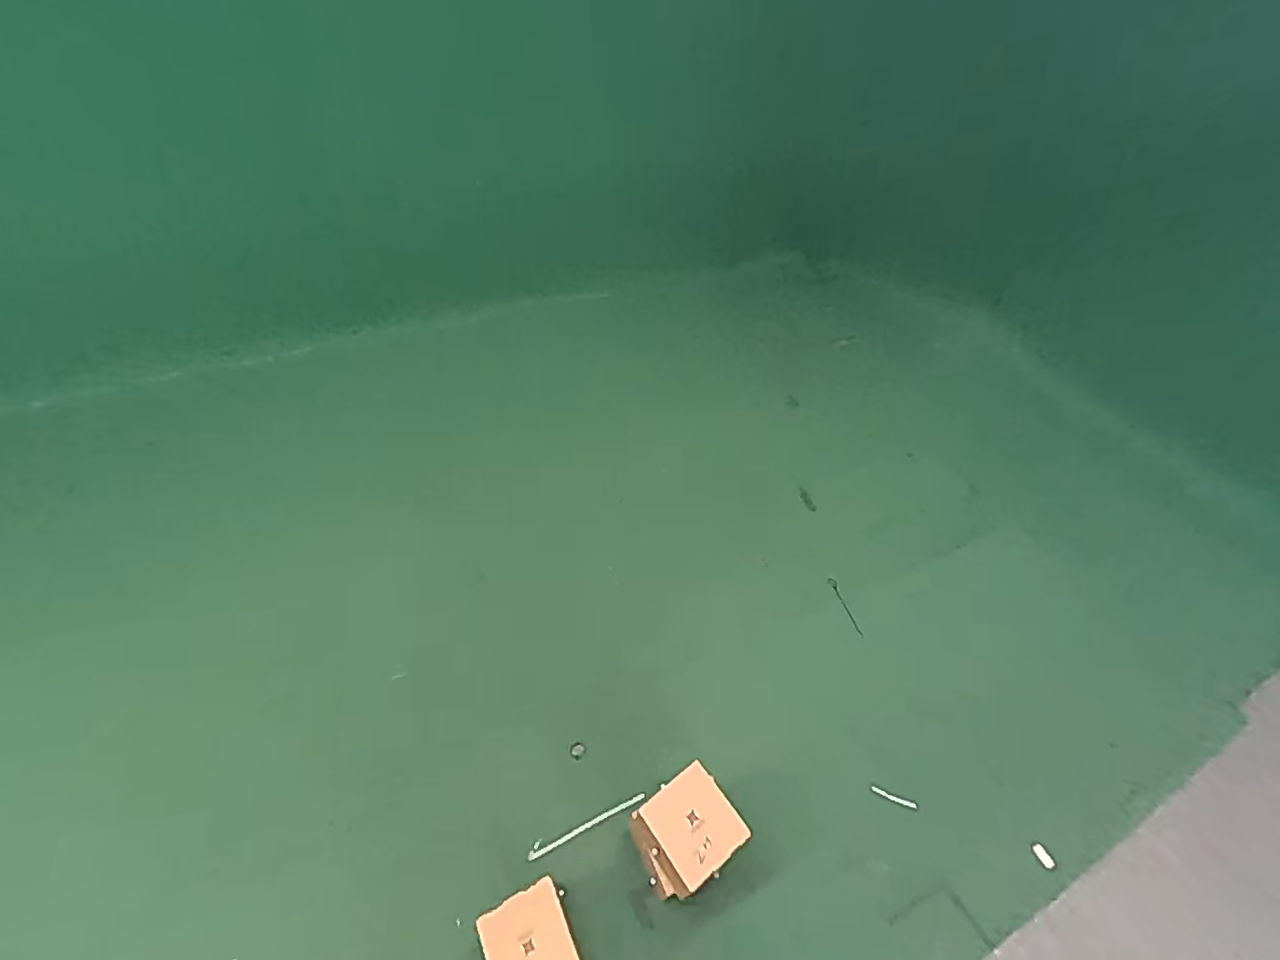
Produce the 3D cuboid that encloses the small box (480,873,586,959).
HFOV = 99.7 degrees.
[{"bbox_3d":[-0.223,0.986,1.155,0.168,0.176,0.179,-20,52,-20],"label":"small box"}]

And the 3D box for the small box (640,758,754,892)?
[{"bbox_3d":[0.112,0.747,1.166,0.168,0.176,0.179,-27,57,-25],"label":"small box"}]
